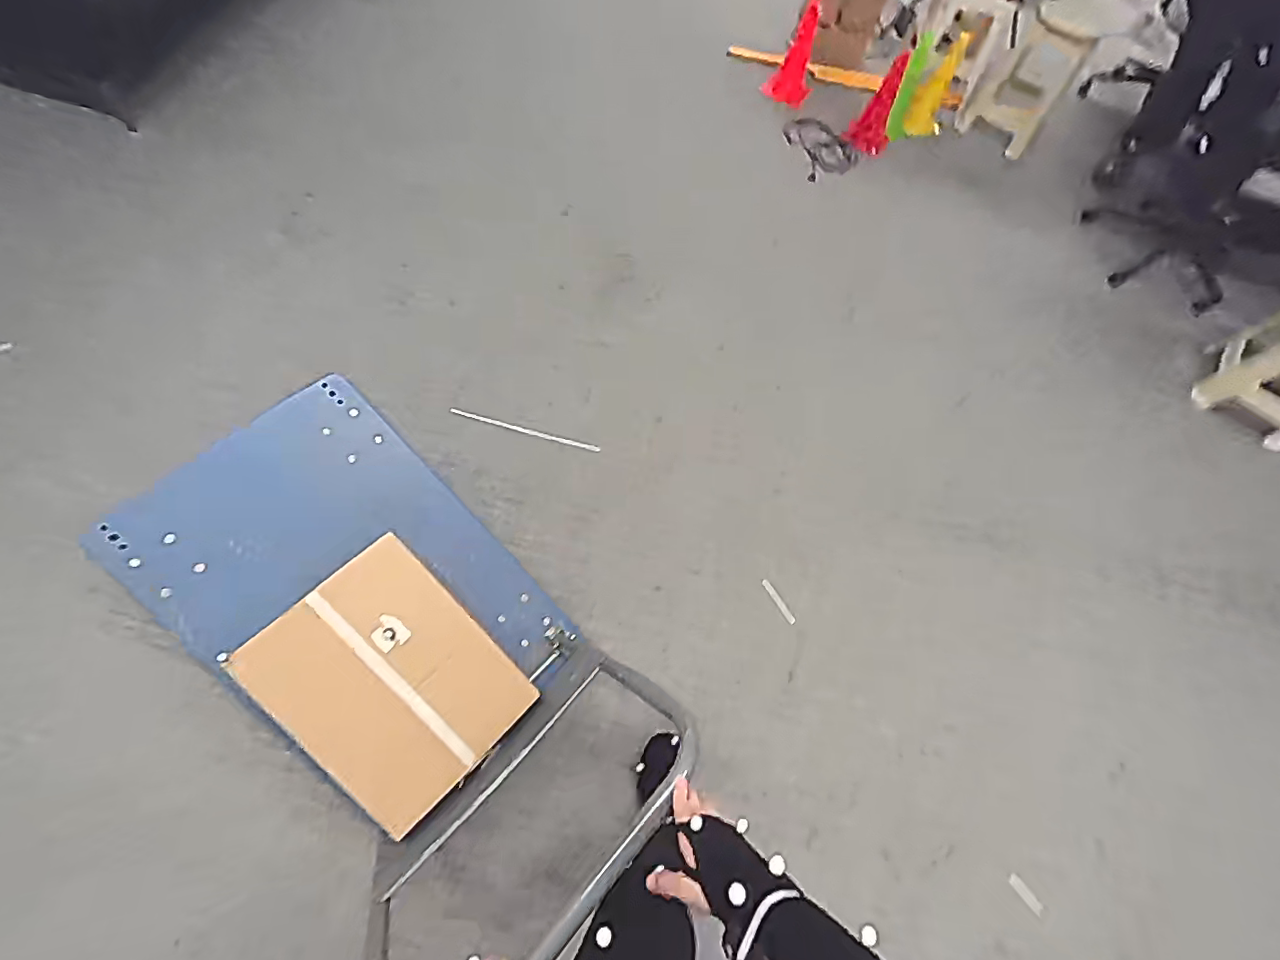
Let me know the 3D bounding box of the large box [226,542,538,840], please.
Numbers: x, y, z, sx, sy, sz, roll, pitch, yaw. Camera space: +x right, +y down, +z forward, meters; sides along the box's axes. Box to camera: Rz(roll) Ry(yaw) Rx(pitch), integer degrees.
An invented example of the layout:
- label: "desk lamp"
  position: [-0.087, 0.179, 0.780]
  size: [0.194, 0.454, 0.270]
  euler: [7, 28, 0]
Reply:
- label: "large box"
  position: [-0.463, 0.375, 1.052]
  size: [0.320, 0.320, 0.408]
  euler: [-43, 96, -23]
